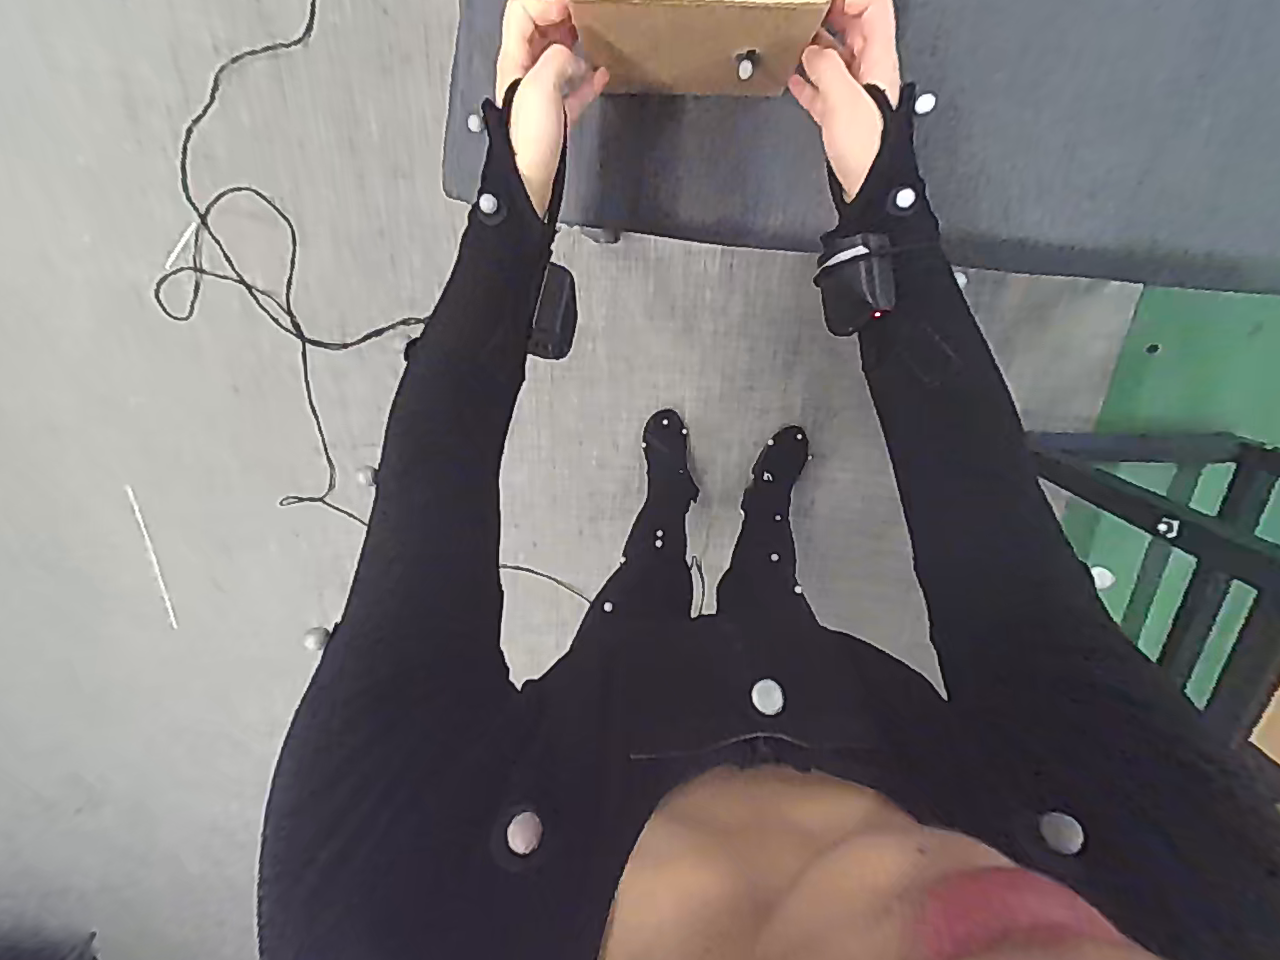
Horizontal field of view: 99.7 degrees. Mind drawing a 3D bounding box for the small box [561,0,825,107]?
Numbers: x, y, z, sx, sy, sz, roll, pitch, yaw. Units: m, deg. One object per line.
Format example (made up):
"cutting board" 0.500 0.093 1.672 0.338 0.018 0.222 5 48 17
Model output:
"small box" 0.040 -0.407 0.409 0.179 0.176 0.168 2 107 4
